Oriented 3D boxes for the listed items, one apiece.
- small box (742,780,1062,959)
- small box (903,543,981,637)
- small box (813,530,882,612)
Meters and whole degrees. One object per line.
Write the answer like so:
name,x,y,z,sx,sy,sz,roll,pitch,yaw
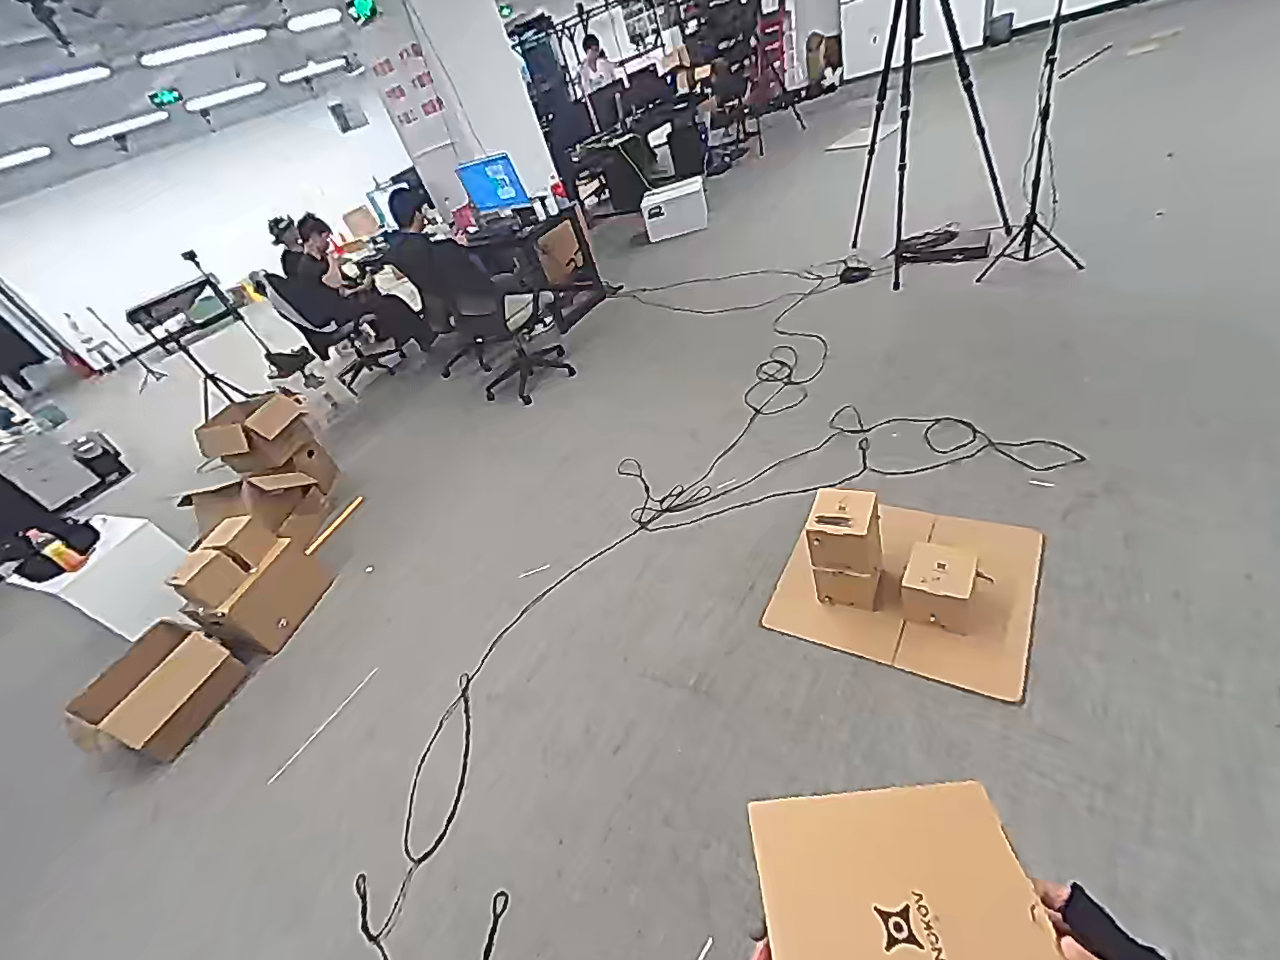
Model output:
small box,0.177,0.346,0.390,0.179,0.176,0.168,-8,36,5
small box,0.860,0.313,1.544,0.168,0.176,0.179,9,47,36
small box,0.653,0.284,1.682,0.168,0.176,0.179,6,45,33
